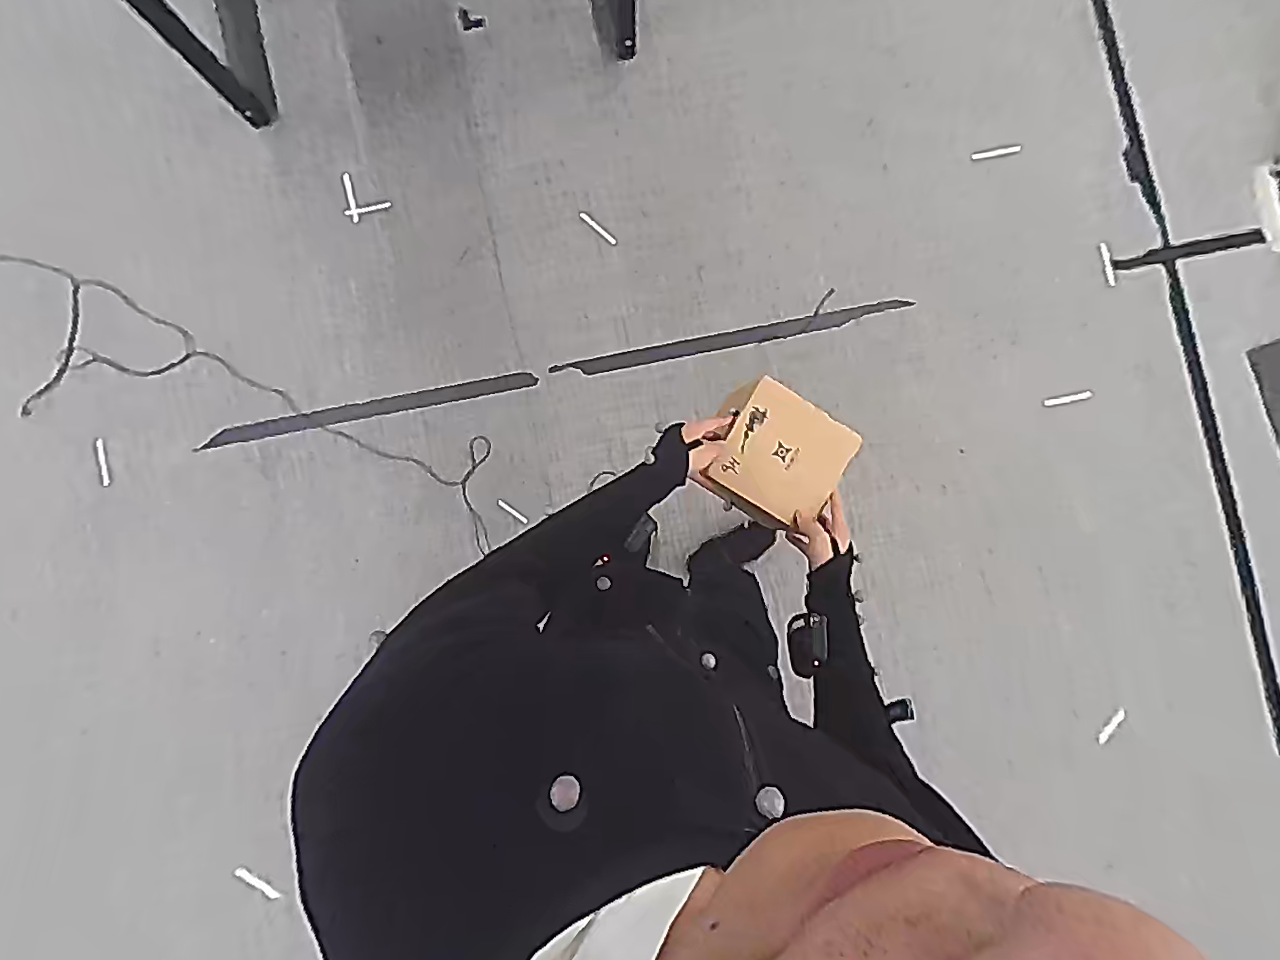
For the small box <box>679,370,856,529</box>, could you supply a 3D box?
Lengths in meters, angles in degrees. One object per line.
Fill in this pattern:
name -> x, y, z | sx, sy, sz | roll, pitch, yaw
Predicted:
small box -> 0.185, -0.045, 0.834 | 0.179, 0.176, 0.168 | 31, 86, -7
